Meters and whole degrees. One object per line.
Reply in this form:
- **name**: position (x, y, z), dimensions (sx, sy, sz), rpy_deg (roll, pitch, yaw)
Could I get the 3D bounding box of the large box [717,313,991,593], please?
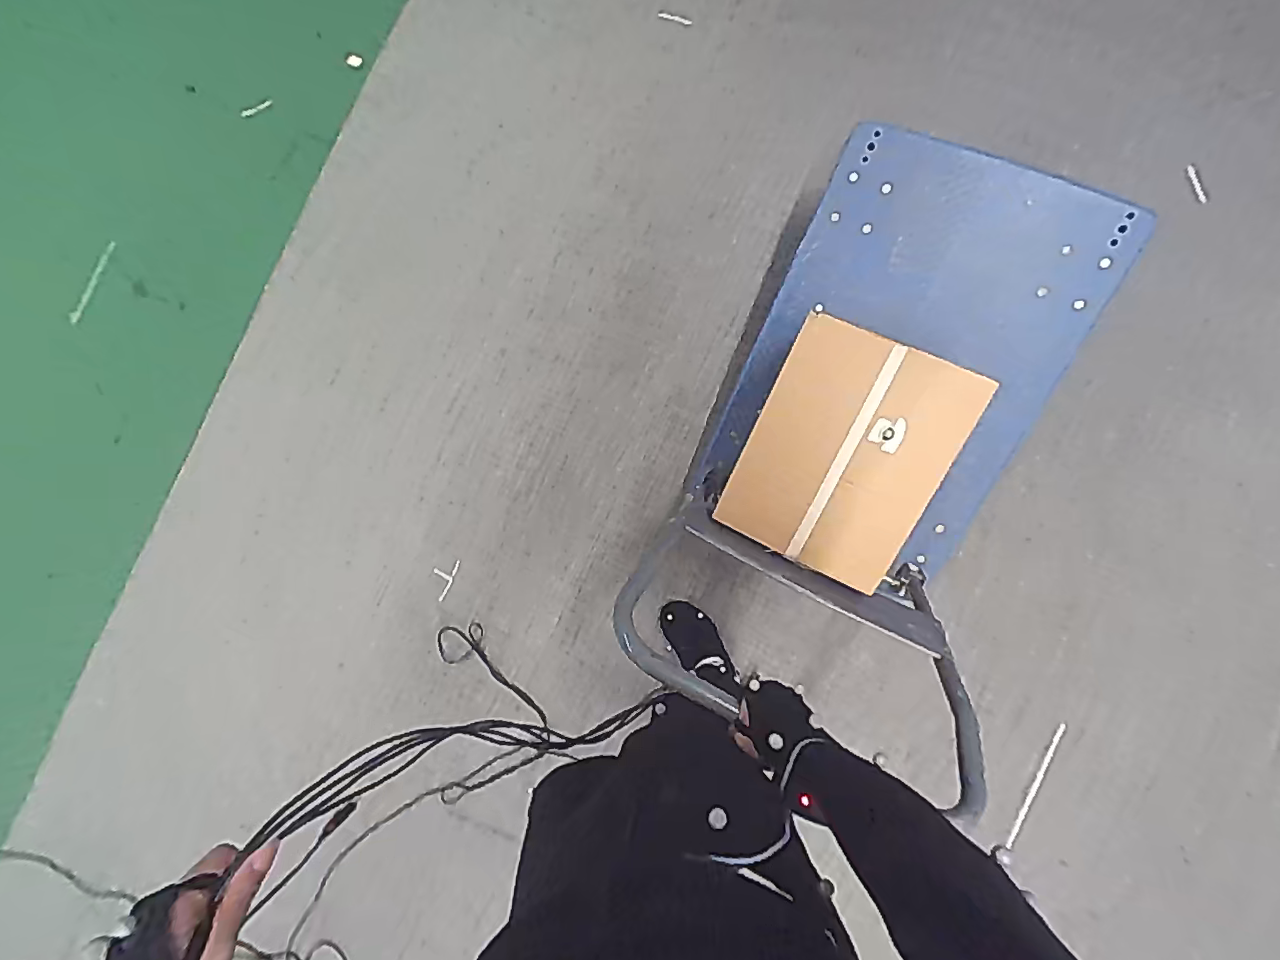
- **large box**: position (0.392, -0.061, 1.067), dimensions (0.320, 0.320, 0.408), rpy_deg (27, 106, 12)
